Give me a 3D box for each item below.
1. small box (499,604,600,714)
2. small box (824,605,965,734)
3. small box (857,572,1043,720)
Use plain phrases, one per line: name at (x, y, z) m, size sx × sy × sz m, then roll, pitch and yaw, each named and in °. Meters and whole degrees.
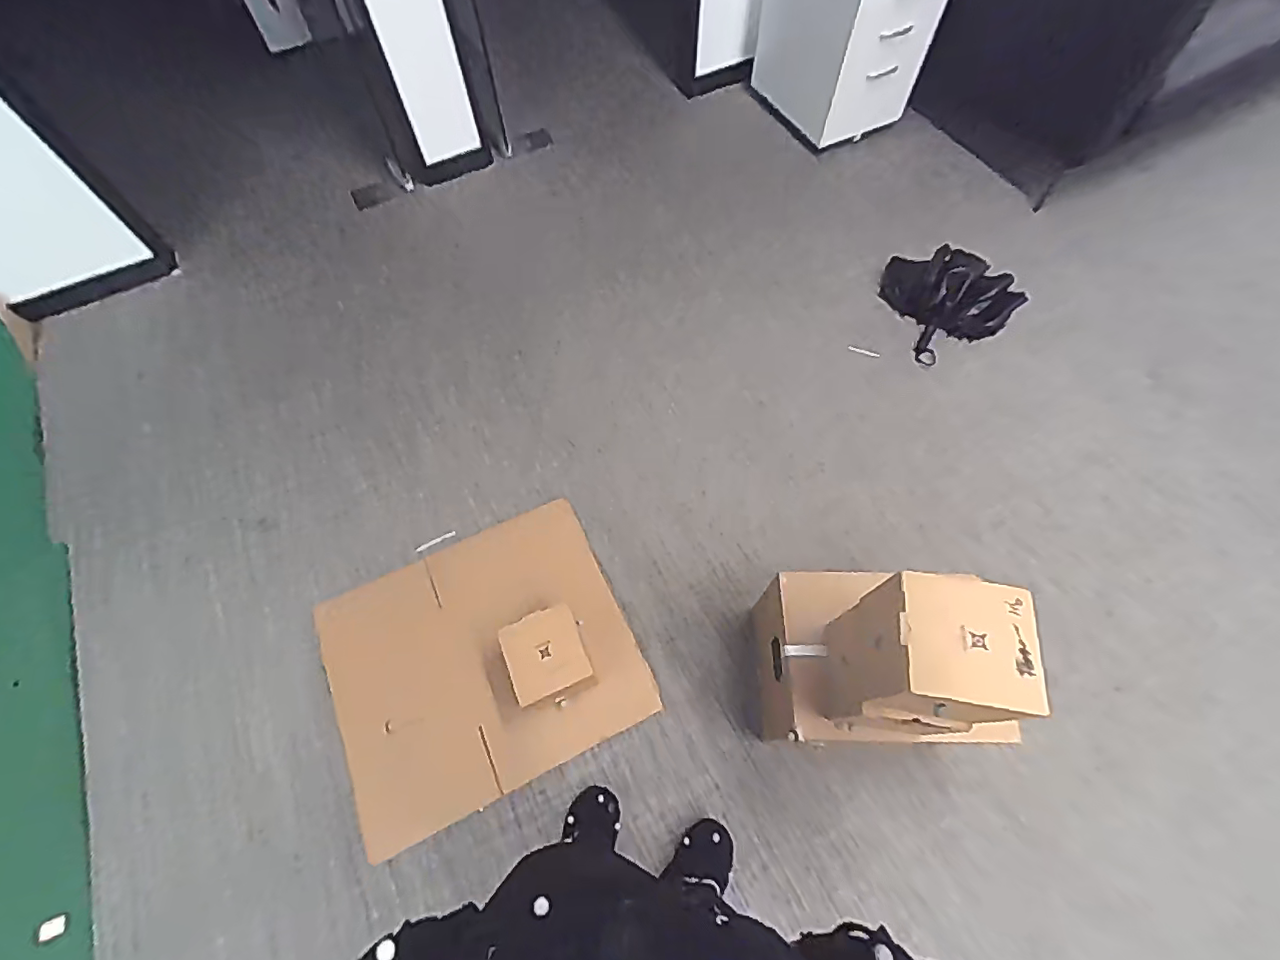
small box at (-0.201, 0.410, 1.226) m, size 0.168 × 0.176 × 0.179 m, roll -23°, pitch 65°, yaw -10°
small box at (0.423, 0.331, 0.928) m, size 0.168 × 0.176 × 0.179 m, roll 7°, pitch 63°, yaw 4°
small box at (0.430, 0.248, 0.790) m, size 0.179 × 0.176 × 0.168 m, roll 6°, pitch 62°, yaw 3°
